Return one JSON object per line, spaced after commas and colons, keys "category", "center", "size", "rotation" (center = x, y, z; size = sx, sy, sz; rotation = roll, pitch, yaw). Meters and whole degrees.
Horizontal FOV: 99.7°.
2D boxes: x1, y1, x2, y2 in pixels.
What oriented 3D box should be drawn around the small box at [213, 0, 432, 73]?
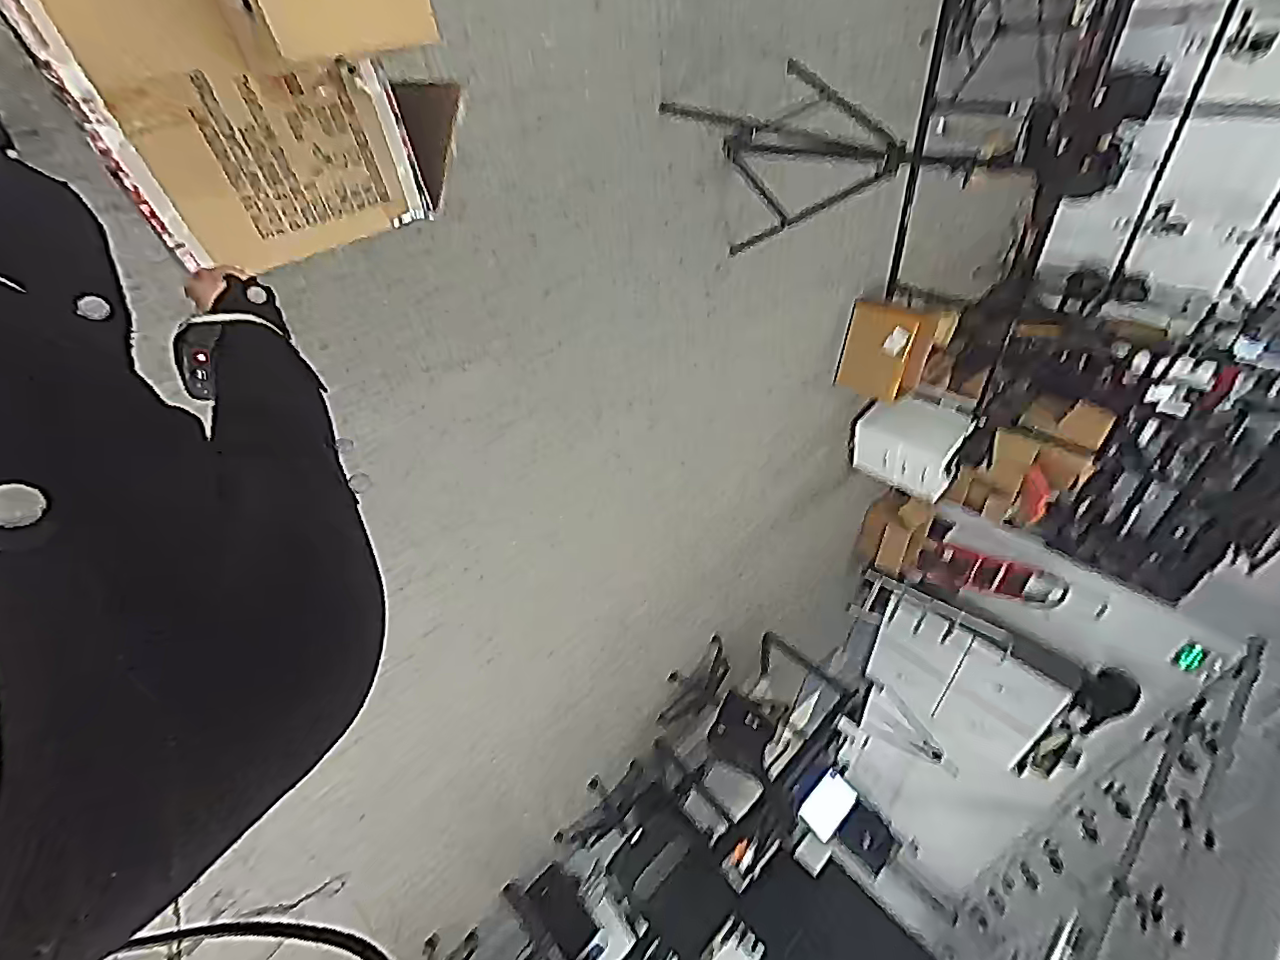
{"category": "small box", "center": [-0.350, -0.539, 0.560], "size": [0.168, 0.176, 0.179], "rotation": [-33, 134, -27]}
